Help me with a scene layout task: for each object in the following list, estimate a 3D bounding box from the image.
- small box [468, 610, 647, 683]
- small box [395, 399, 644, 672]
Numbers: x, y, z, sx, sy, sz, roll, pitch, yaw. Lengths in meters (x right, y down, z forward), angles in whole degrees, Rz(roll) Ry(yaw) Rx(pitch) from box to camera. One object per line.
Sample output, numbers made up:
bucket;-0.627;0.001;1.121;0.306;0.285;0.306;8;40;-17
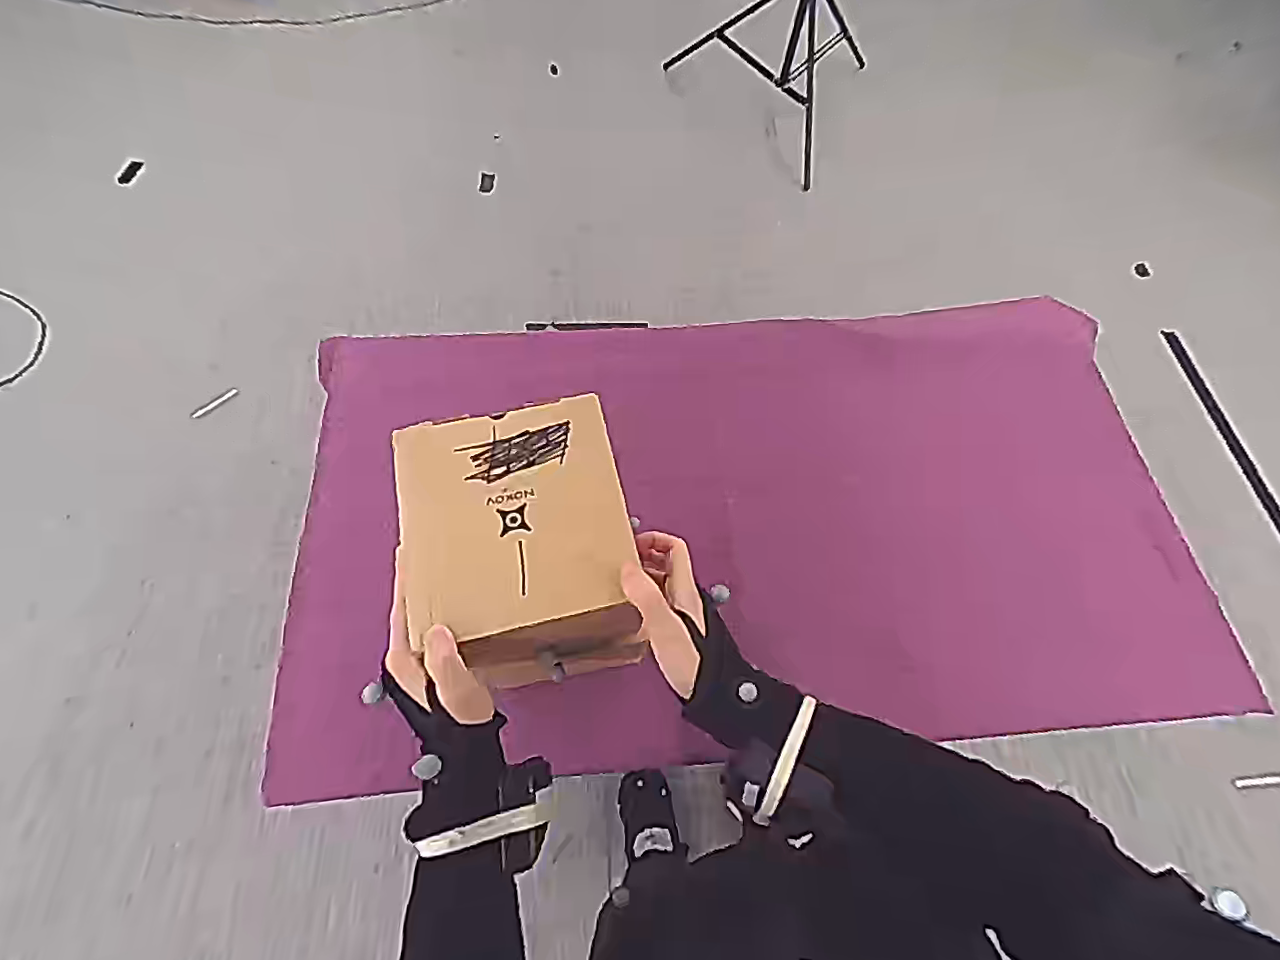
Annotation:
small box;-0.096;0.131;0.623;0.179;0.176;0.168;-10;67;-6
small box;-0.099;0.057;0.476;0.168;0.176;0.179;-12;67;-7
